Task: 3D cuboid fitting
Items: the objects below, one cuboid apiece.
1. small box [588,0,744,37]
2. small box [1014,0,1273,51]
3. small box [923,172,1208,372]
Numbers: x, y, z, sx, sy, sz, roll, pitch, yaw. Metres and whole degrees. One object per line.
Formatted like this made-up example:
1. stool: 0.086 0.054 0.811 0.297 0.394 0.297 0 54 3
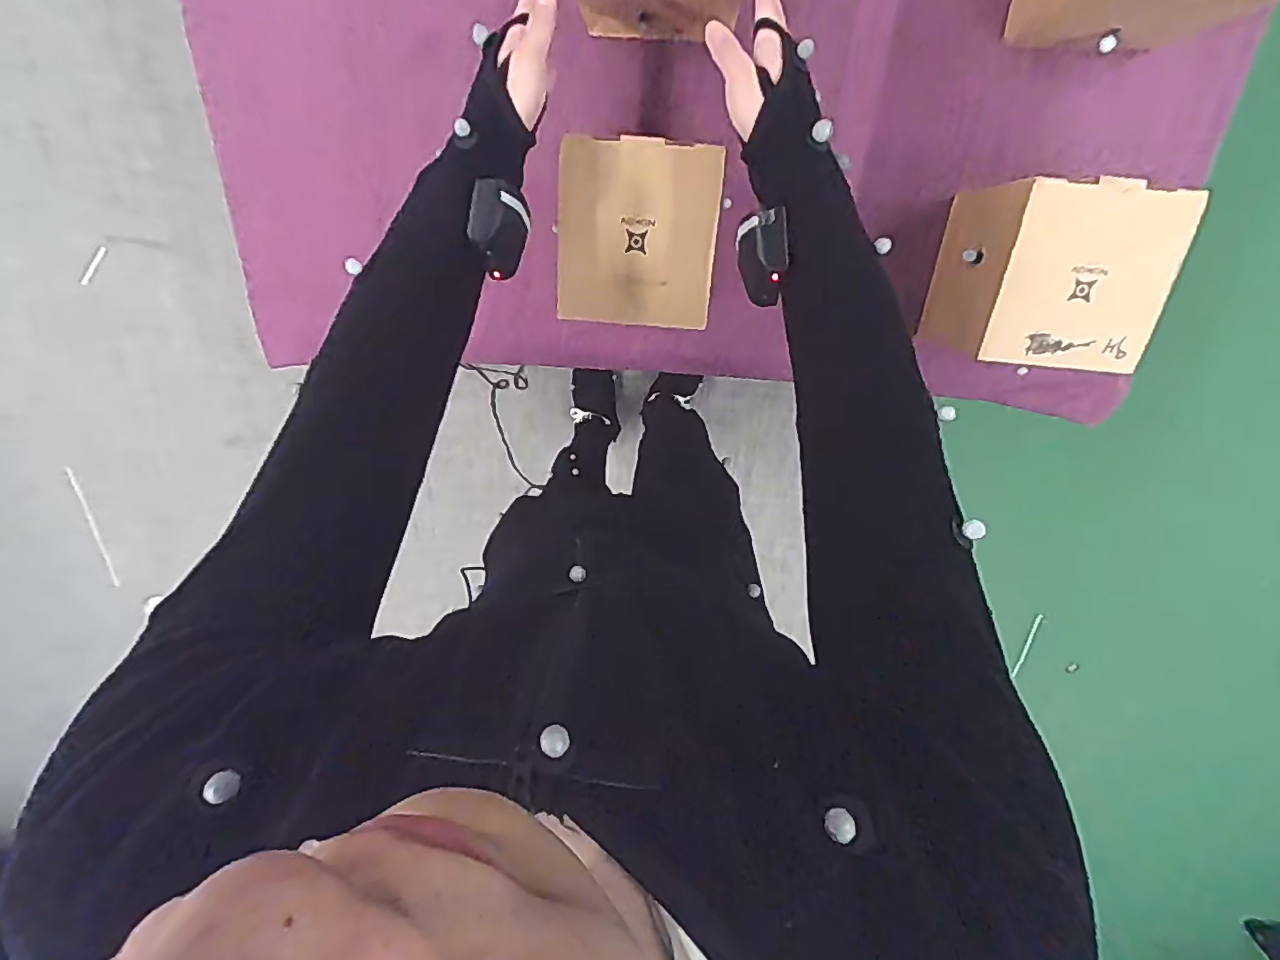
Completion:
1. small box: 0.026 -0.553 0.504 0.168 0.176 0.179 4 115 1
2. small box: 0.480 -0.522 0.485 0.168 0.176 0.179 5 115 4
3. small box: 0.454 -0.232 0.617 0.168 0.176 0.179 6 112 2
